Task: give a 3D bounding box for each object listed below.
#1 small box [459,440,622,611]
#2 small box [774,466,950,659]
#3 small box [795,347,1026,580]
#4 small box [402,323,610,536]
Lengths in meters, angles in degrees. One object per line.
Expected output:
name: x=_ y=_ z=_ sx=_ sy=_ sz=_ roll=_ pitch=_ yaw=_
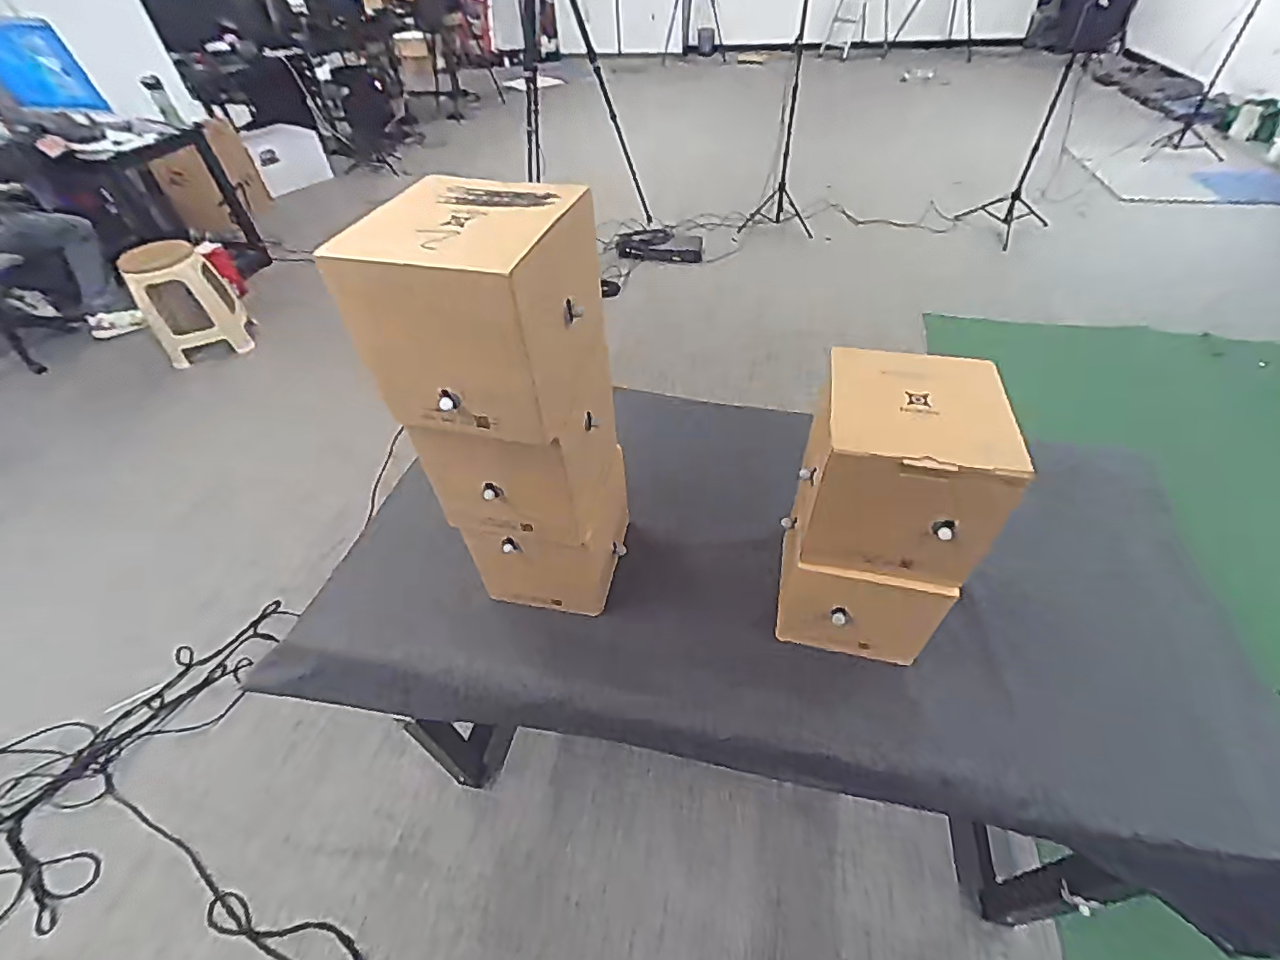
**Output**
small box: x=-0.122 y=0.053 z=0.749 sx=0.168 sy=0.176 sz=0.179 roll=7 pitch=46 yaw=9
small box: x=0.268 y=0.103 z=0.688 sx=0.168 sy=0.176 sz=0.179 roll=9 pitch=47 yaw=11
small box: x=0.266 y=-0.017 z=0.578 sx=0.168 sy=0.176 sz=0.179 roll=9 pitch=45 yaw=10
small box: x=-0.134 y=-0.058 z=0.627 sx=0.168 sy=0.176 sz=0.179 roll=9 pitch=47 yaw=9
